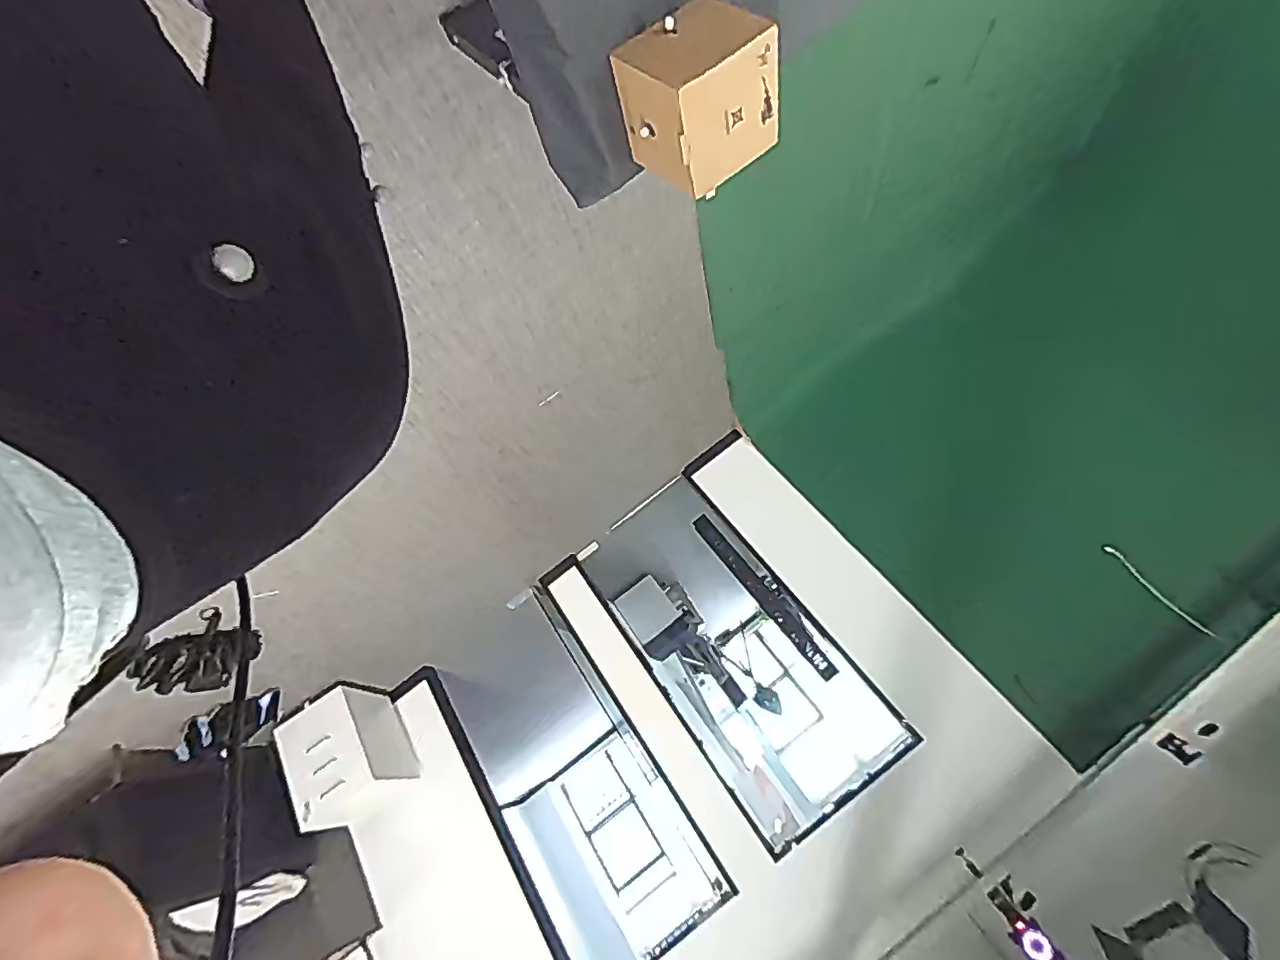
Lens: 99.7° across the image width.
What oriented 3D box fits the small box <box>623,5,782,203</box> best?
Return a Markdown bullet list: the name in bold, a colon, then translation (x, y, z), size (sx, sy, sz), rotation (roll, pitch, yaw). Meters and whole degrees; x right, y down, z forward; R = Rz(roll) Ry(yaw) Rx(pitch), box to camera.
- **small box**: translation (0.092, -0.567, 0.817), size (0.179, 0.176, 0.168), rotation (-37, 151, -6)
